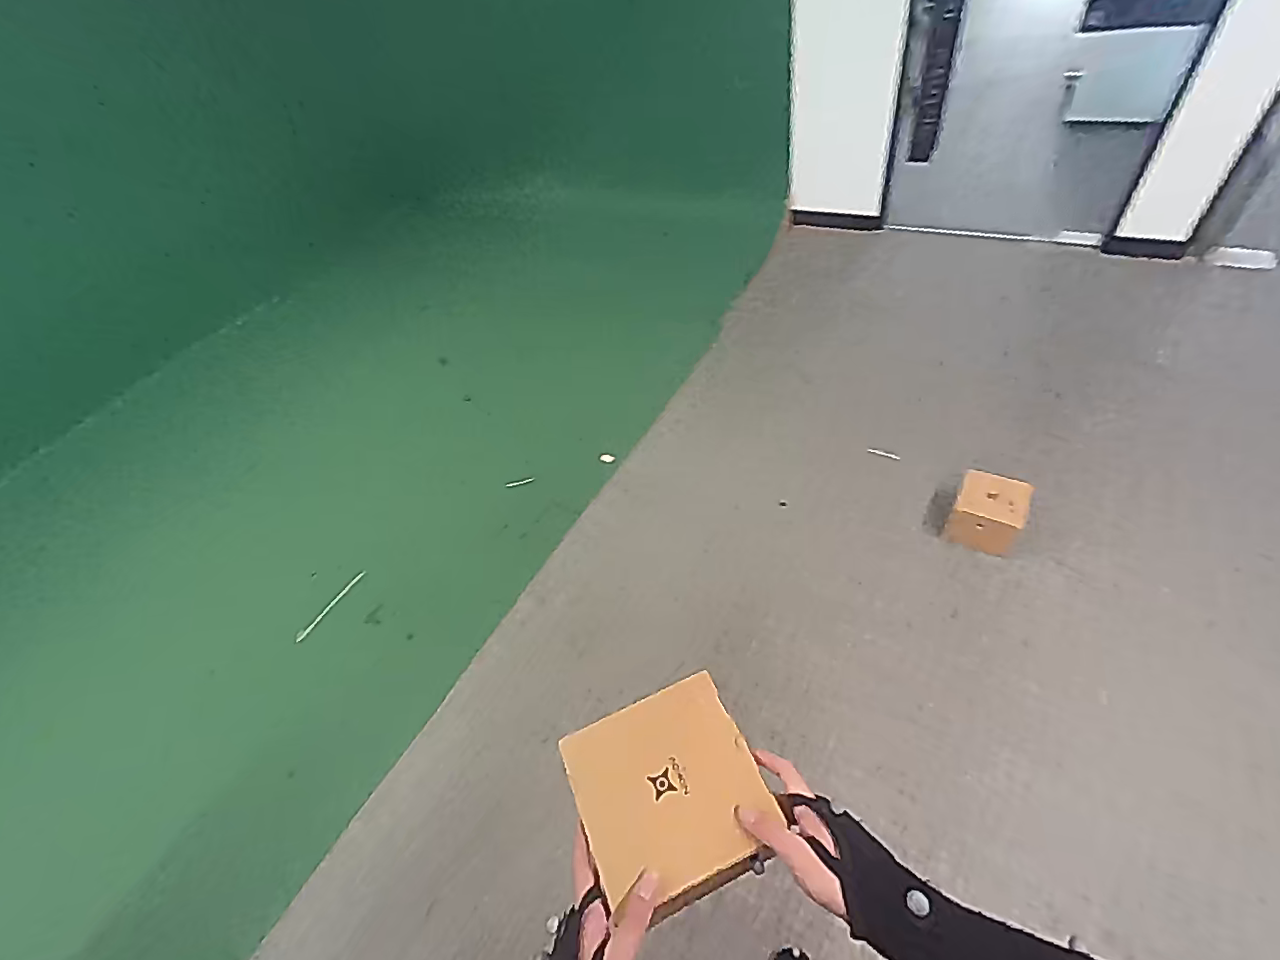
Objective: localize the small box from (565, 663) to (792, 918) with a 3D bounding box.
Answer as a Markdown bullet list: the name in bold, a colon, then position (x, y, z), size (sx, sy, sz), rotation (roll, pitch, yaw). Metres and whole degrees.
- **small box**: position (0.039, 0.334, 0.579), size (0.179, 0.176, 0.168), rotation (-20, 49, -11)

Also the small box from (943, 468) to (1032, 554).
- **small box**: position (1.043, 0.097, 1.636), size (0.179, 0.176, 0.168), rotation (20, 60, 27)
